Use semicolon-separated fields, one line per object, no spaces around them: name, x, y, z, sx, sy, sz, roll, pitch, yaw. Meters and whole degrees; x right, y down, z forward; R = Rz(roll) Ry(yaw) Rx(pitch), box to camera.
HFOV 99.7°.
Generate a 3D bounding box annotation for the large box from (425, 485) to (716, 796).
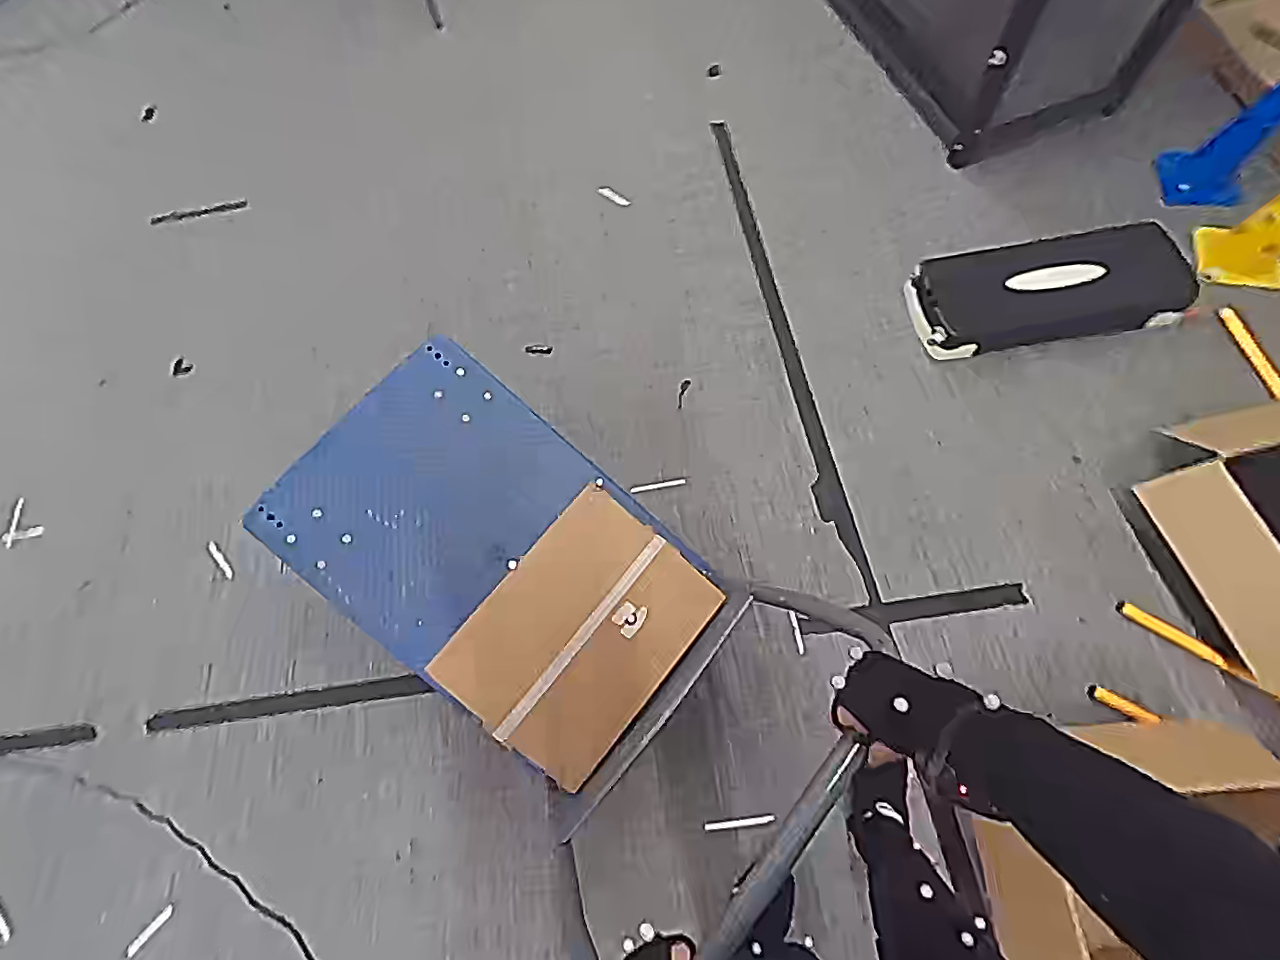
large box;-0.127;0.277;1.030;0.320;0.320;0.408;41;77;-3
